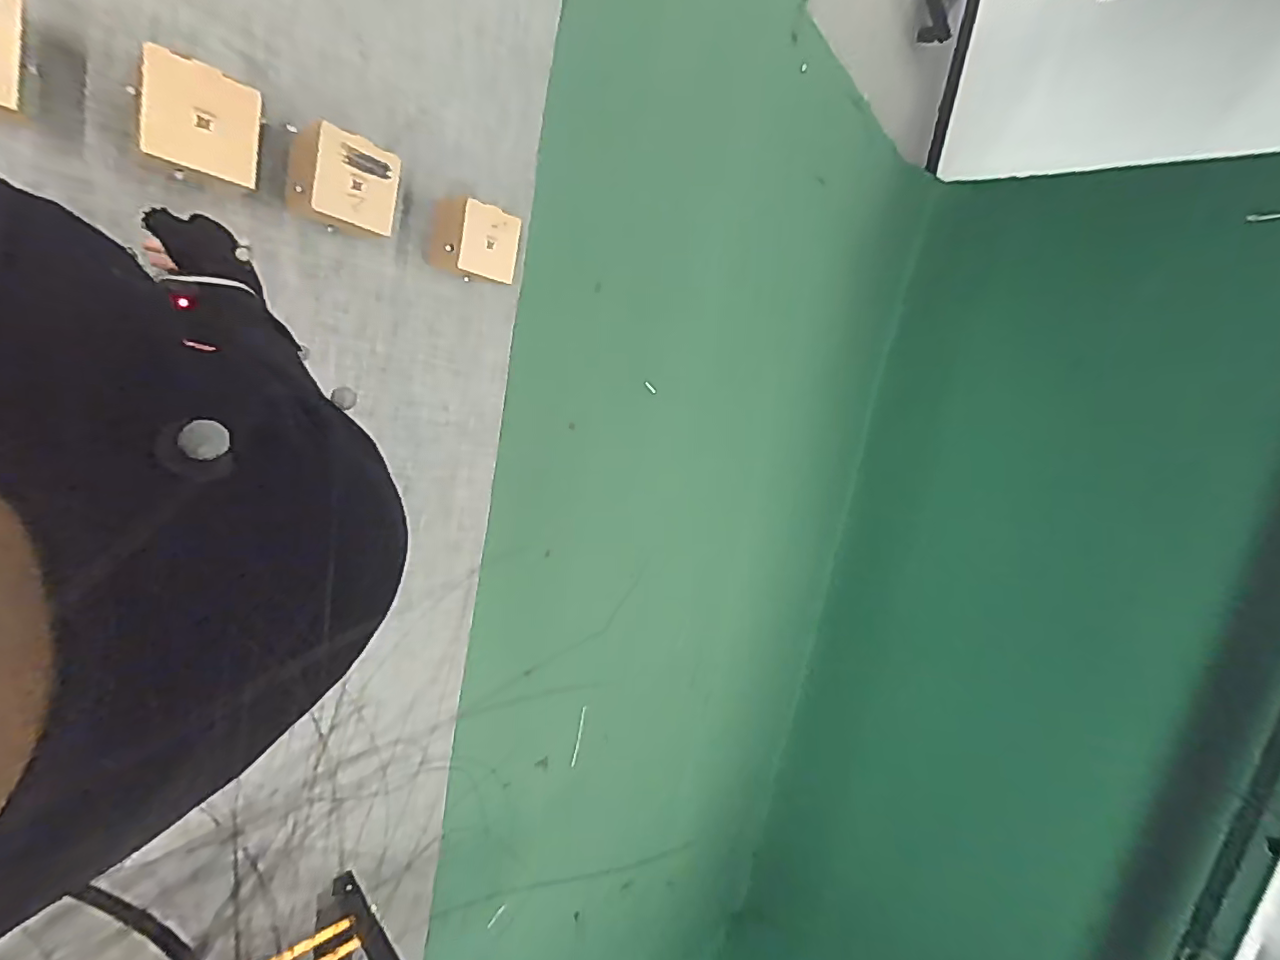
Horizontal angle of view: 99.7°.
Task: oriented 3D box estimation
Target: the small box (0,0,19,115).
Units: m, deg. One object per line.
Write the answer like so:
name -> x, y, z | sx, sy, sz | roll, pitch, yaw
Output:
small box -> -1.026, -0.668, 0.779 | 0.168, 0.176, 0.179 | 3, 104, -49

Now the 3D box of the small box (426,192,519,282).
small box -> -0.454, -0.646, 1.453 | 0.168, 0.176, 0.179 | 0, 105, -50

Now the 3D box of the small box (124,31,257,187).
small box -> -0.835, -0.667, 1.003 | 0.168, 0.176, 0.179 | 0, 104, -49
